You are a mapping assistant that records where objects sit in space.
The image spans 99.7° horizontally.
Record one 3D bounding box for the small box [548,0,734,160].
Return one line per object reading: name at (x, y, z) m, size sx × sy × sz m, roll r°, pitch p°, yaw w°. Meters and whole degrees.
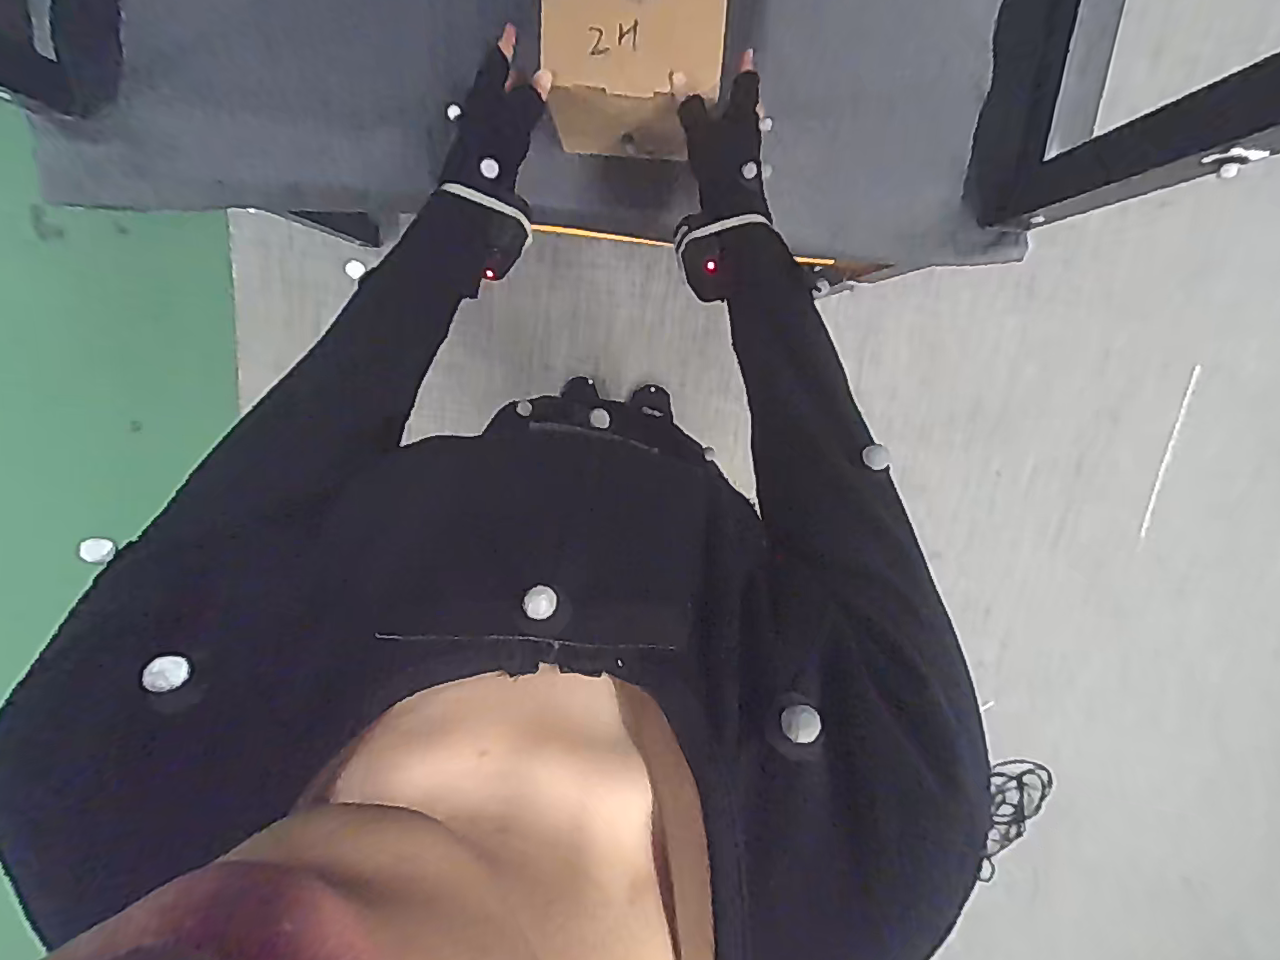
small box at (0.002, -0.461, 0.557) m, size 0.168 × 0.176 × 0.179 m, roll 4°, pitch 103°, yaw -1°
